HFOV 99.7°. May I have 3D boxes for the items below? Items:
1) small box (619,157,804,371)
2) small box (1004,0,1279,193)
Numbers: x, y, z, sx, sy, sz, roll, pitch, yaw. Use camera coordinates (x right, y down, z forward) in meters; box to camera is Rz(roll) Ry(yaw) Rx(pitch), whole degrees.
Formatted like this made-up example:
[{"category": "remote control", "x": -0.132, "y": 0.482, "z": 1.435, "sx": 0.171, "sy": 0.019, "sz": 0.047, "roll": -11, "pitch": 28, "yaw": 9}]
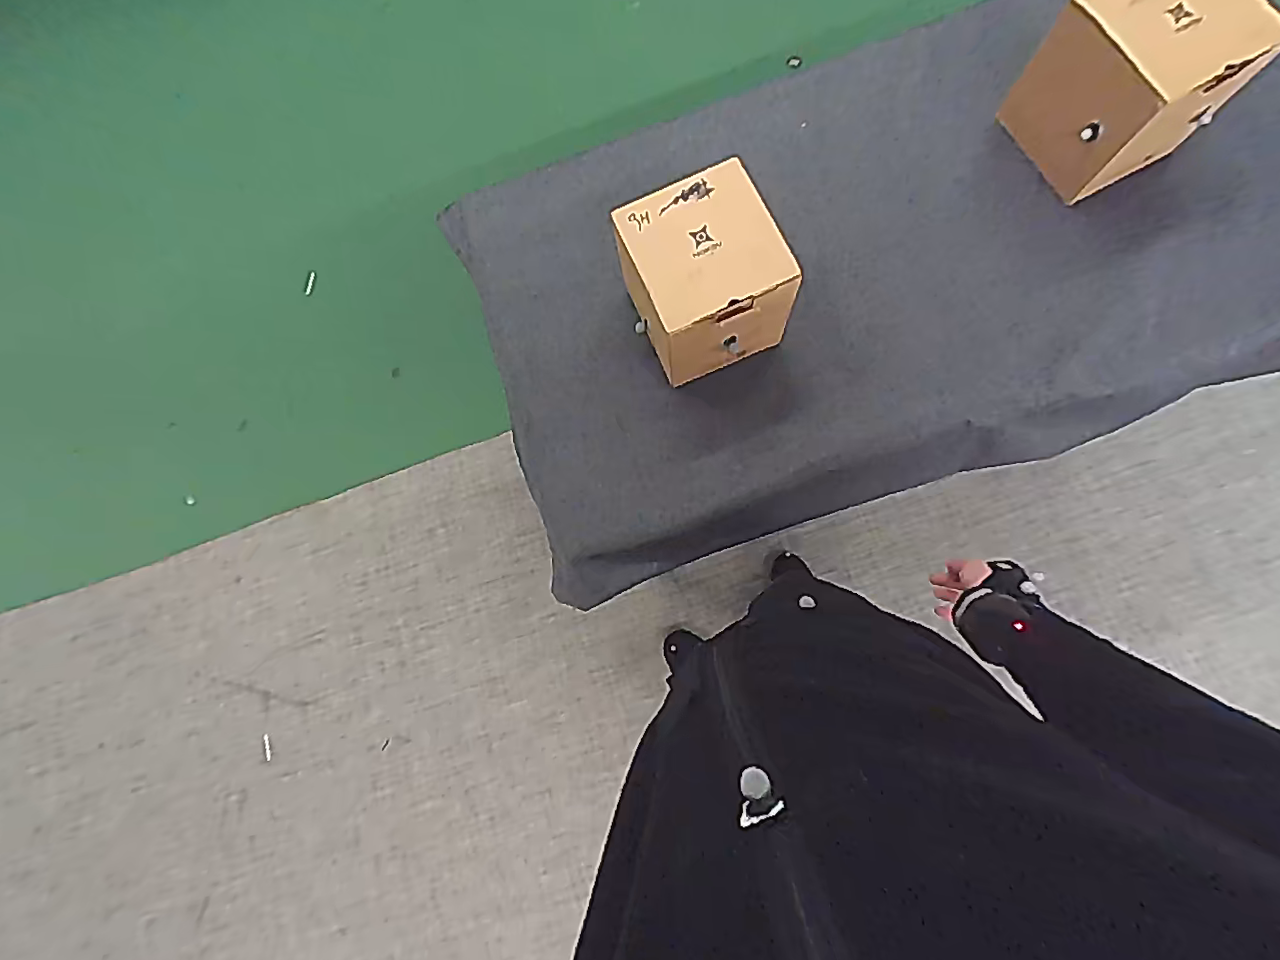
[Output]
[{"category": "small box", "x": 0.089, "y": -0.261, "z": 0.701, "sx": 0.168, "sy": 0.176, "sz": 0.179, "roll": -23, "pitch": 78, "yaw": 1}, {"category": "small box", "x": 0.626, "y": -0.505, "z": 0.692, "sx": 0.168, "sy": 0.176, "sz": 0.179, "roll": -27, "pitch": 76, "yaw": -1}]
